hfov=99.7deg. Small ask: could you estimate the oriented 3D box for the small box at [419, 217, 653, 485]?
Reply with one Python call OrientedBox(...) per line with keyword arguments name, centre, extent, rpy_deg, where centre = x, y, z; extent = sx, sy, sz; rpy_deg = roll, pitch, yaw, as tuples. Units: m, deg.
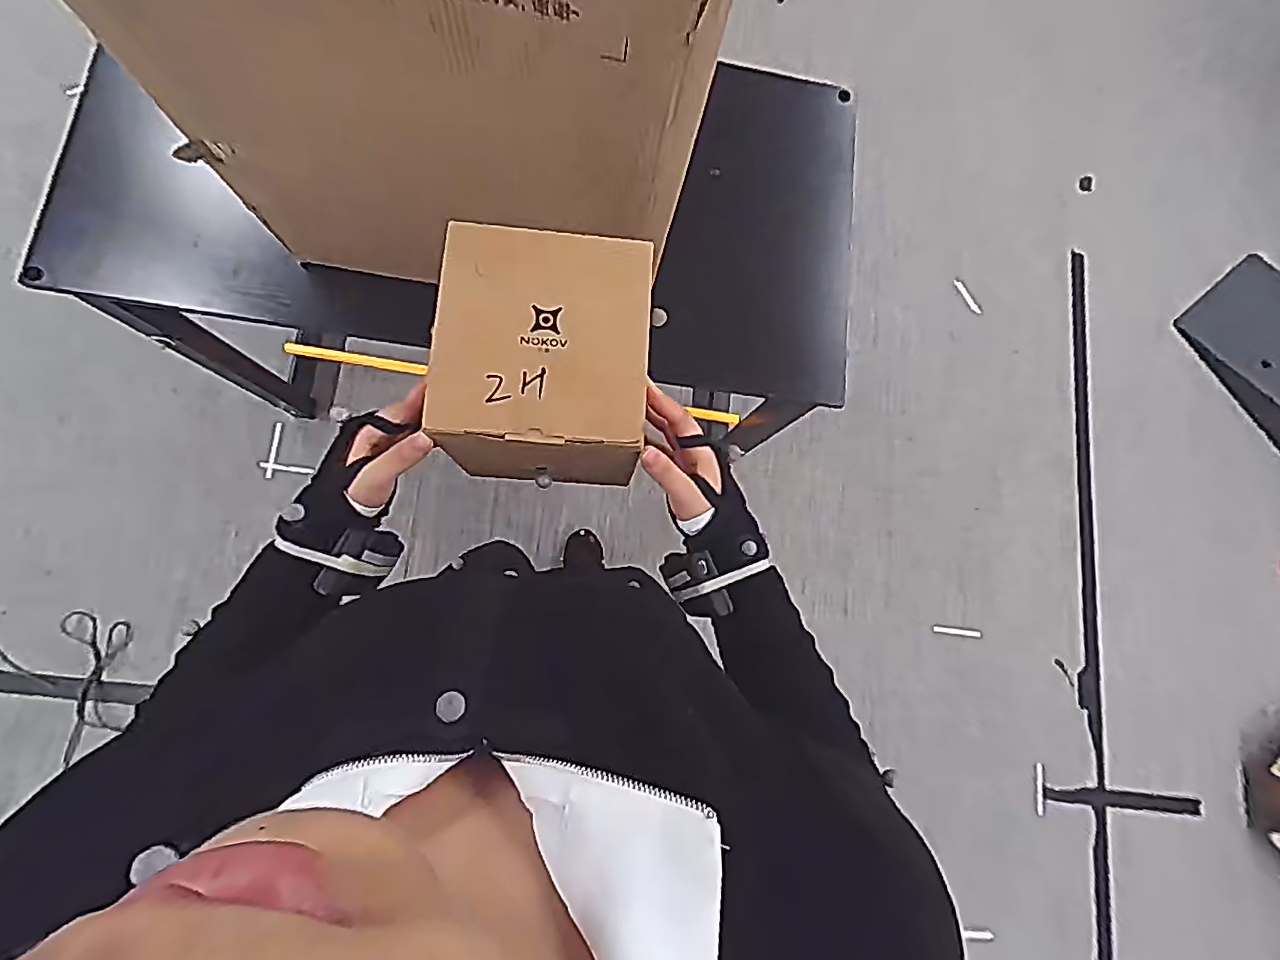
OrientedBox(name="small box", centre=(-0.083, -0.101, 0.493), extent=(0.168, 0.176, 0.179), rpy_deg=(4, 78, -4))
